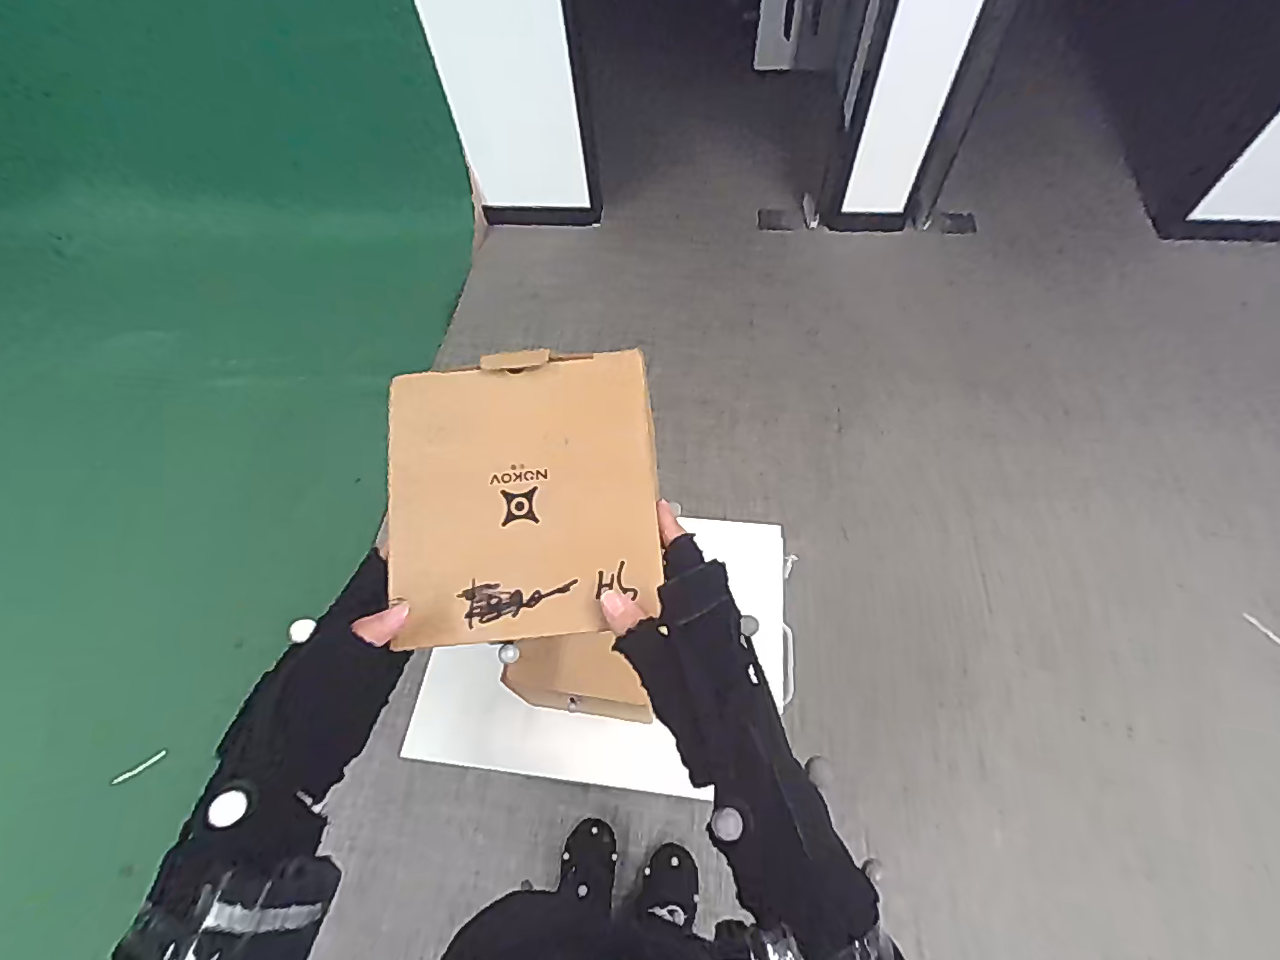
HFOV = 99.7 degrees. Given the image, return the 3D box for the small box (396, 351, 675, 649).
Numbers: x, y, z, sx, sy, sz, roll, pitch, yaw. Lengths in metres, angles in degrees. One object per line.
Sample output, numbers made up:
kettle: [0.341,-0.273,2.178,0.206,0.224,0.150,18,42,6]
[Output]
small box: [-0.068,0.025,0.417,0.168,0.176,0.179,-8,78,1]

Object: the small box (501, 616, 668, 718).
small box: [-0.059,0.211,0.721,0.179,0.176,0.168,6,60,7]
